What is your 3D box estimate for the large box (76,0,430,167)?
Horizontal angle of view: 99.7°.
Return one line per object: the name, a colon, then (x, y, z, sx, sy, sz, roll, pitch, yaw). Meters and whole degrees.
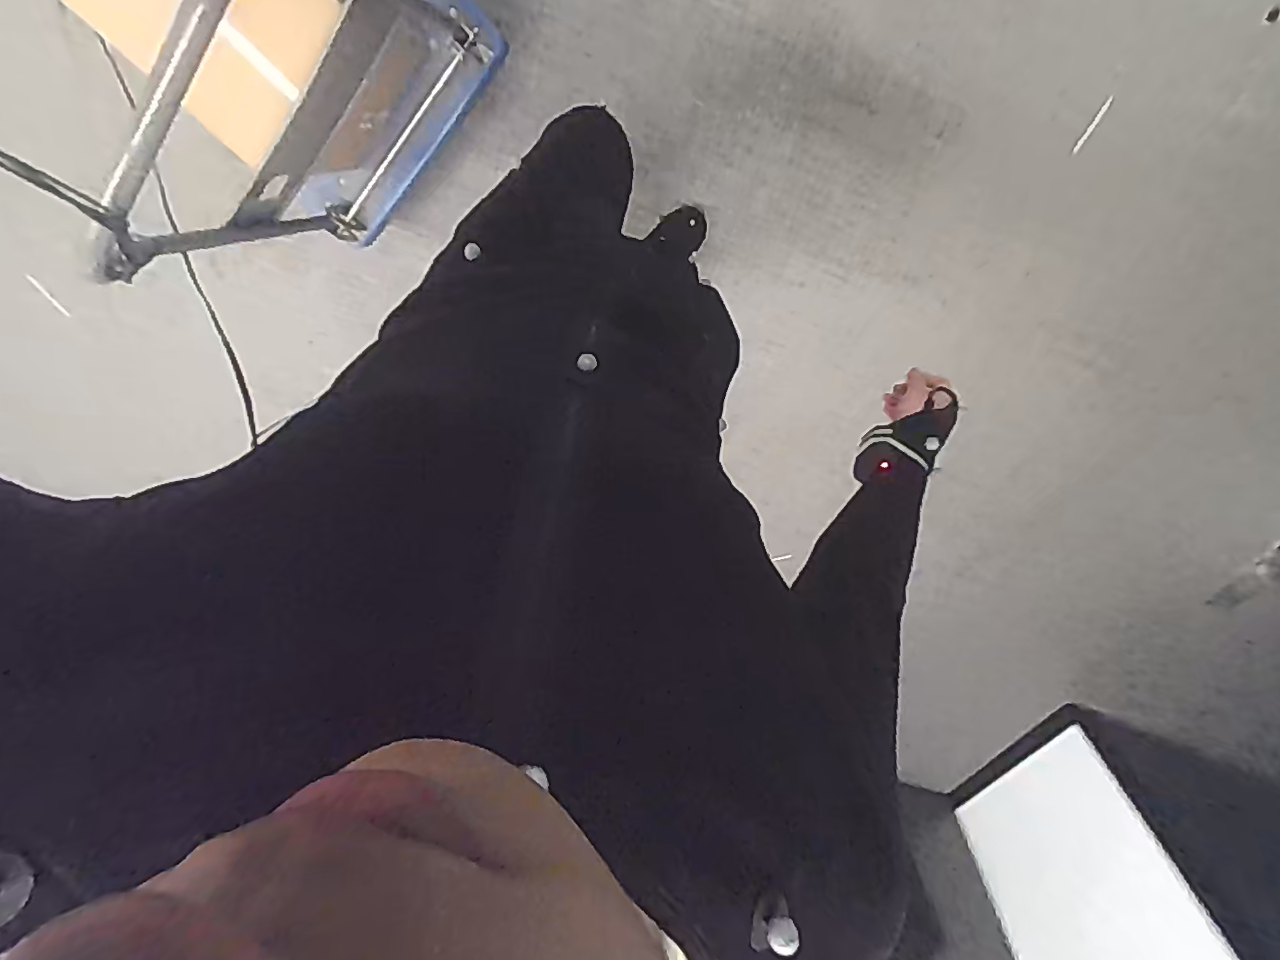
large box: (-0.659, -0.824, 0.927, 0.320, 0.320, 0.408, -38, 112, 24)
